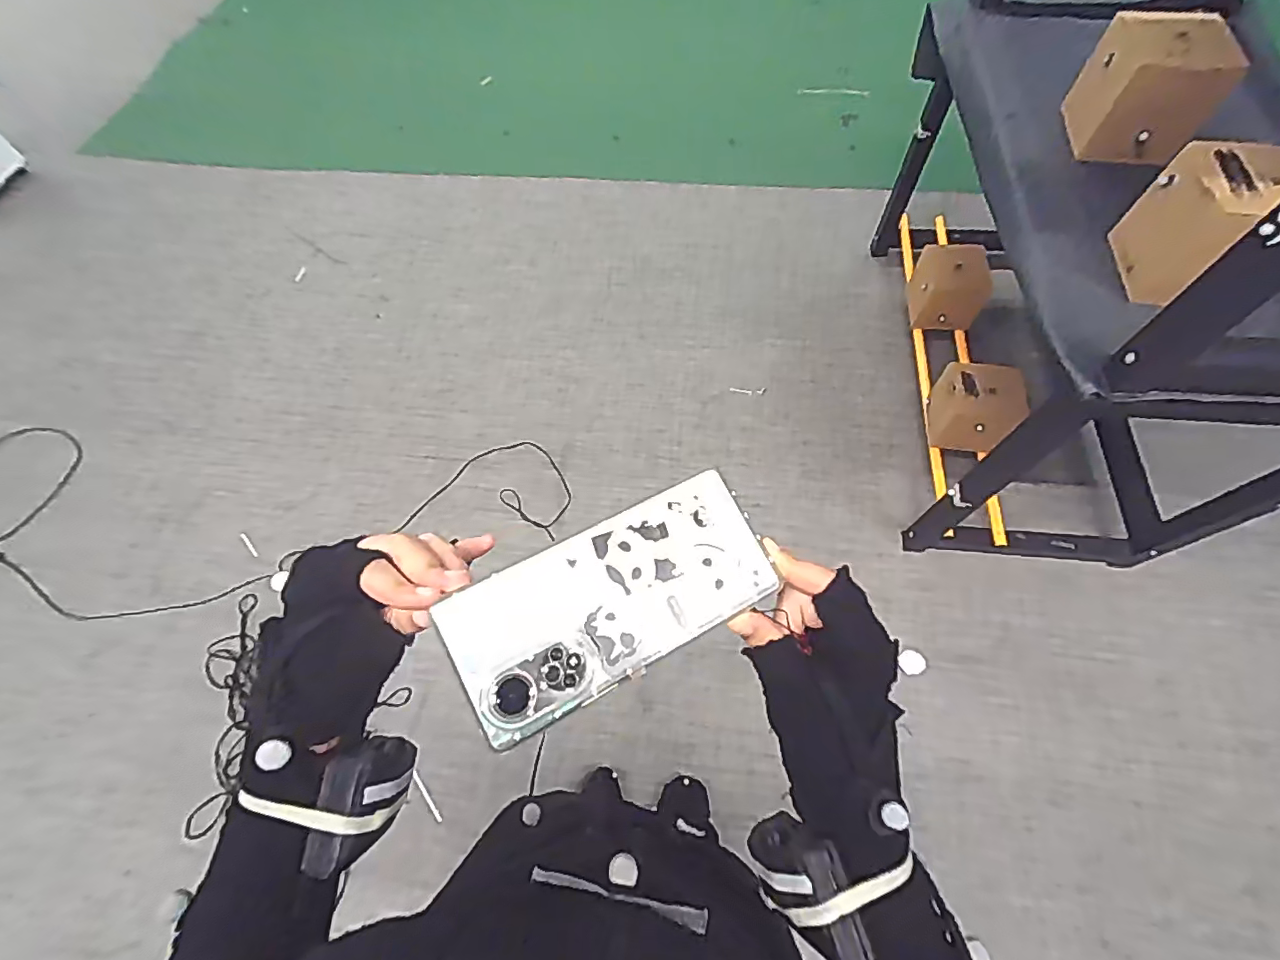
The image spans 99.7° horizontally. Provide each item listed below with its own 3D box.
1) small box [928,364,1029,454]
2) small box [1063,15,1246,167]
[{"bbox_3d":[0.882,-0.183,1.431,0.179,0.176,0.168,7,64,7],"label":"small box"},{"bbox_3d":[0.928,-0.716,1.000,0.168,0.176,0.179,7,63,7],"label":"small box"}]
